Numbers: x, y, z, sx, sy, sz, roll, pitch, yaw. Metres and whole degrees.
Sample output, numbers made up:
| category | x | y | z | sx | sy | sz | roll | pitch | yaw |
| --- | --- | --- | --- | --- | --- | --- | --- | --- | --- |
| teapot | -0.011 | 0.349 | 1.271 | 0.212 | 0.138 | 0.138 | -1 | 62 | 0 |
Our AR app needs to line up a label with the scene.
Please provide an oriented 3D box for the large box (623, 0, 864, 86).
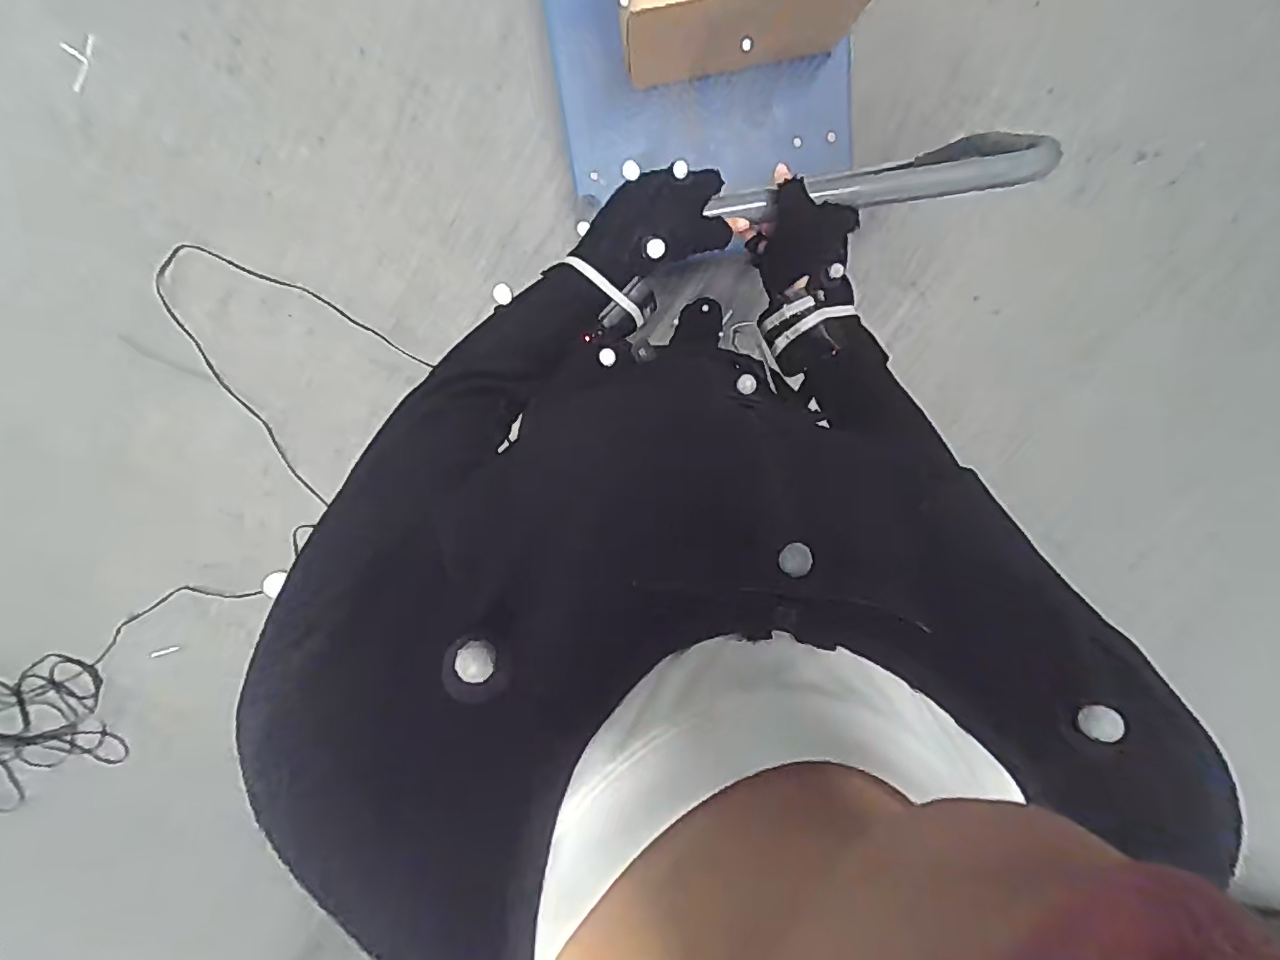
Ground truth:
| category | x | y | z | sx | sy | sz | roll | pitch | yaw |
| --- | --- | --- | --- | --- | --- | --- | --- | --- | --- |
| large box | 0.159 | -0.915 | 0.884 | 0.408 | 0.320 | 0.320 | -9 | 107 | 5 |
